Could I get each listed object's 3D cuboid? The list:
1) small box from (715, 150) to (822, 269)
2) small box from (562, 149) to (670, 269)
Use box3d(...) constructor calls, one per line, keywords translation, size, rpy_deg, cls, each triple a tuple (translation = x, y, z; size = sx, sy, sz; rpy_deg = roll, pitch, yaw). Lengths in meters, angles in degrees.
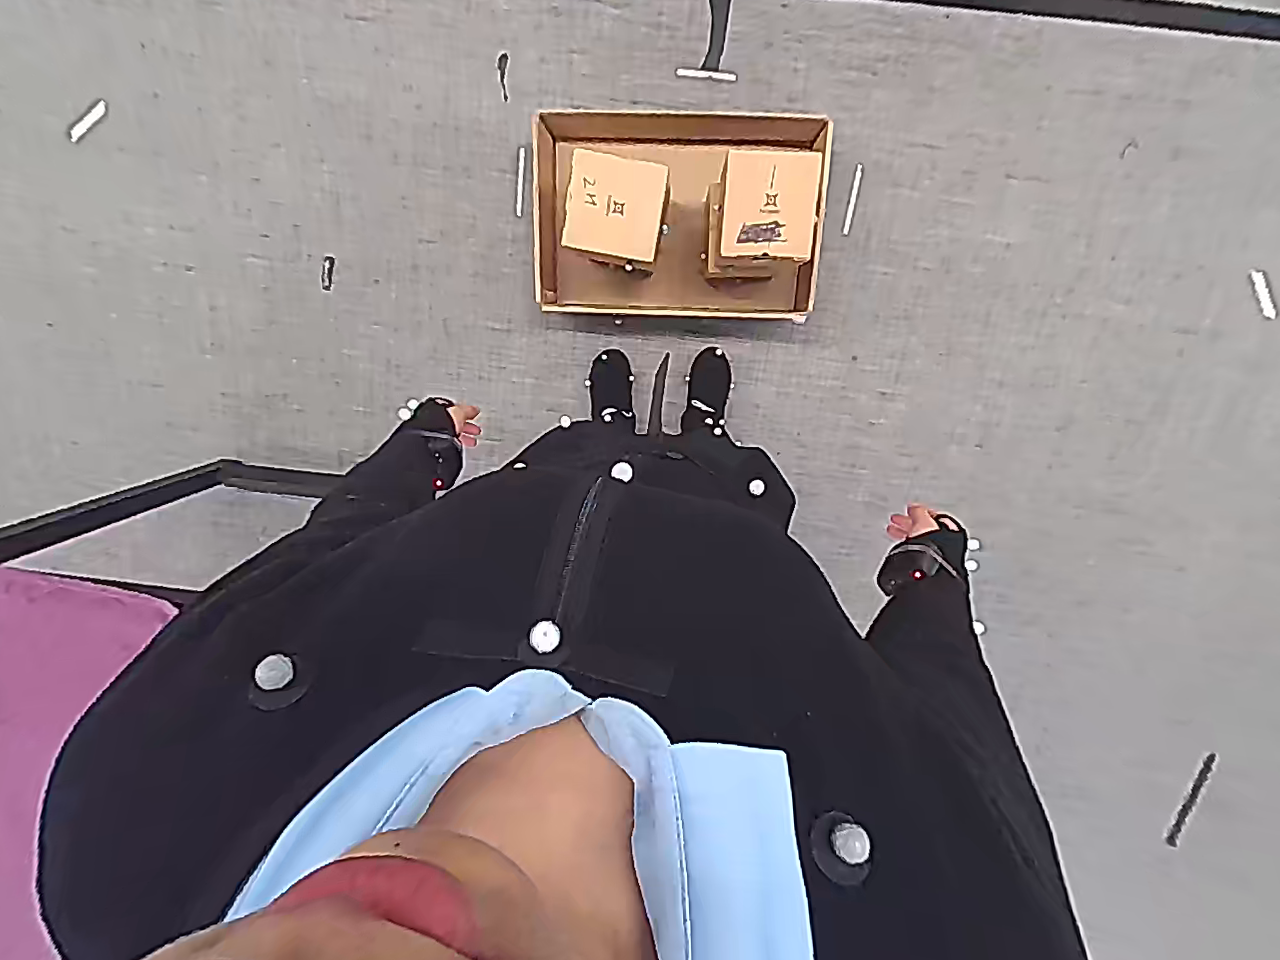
box3d(translation=(0.236, -0.508, 1.038), size=(0.168, 0.176, 0.179), rpy_deg=(3, 105, 3), cls="small box")
box3d(translation=(-0.043, -0.515, 1.054), size=(0.179, 0.176, 0.168), rpy_deg=(11, 106, -1), cls="small box")
